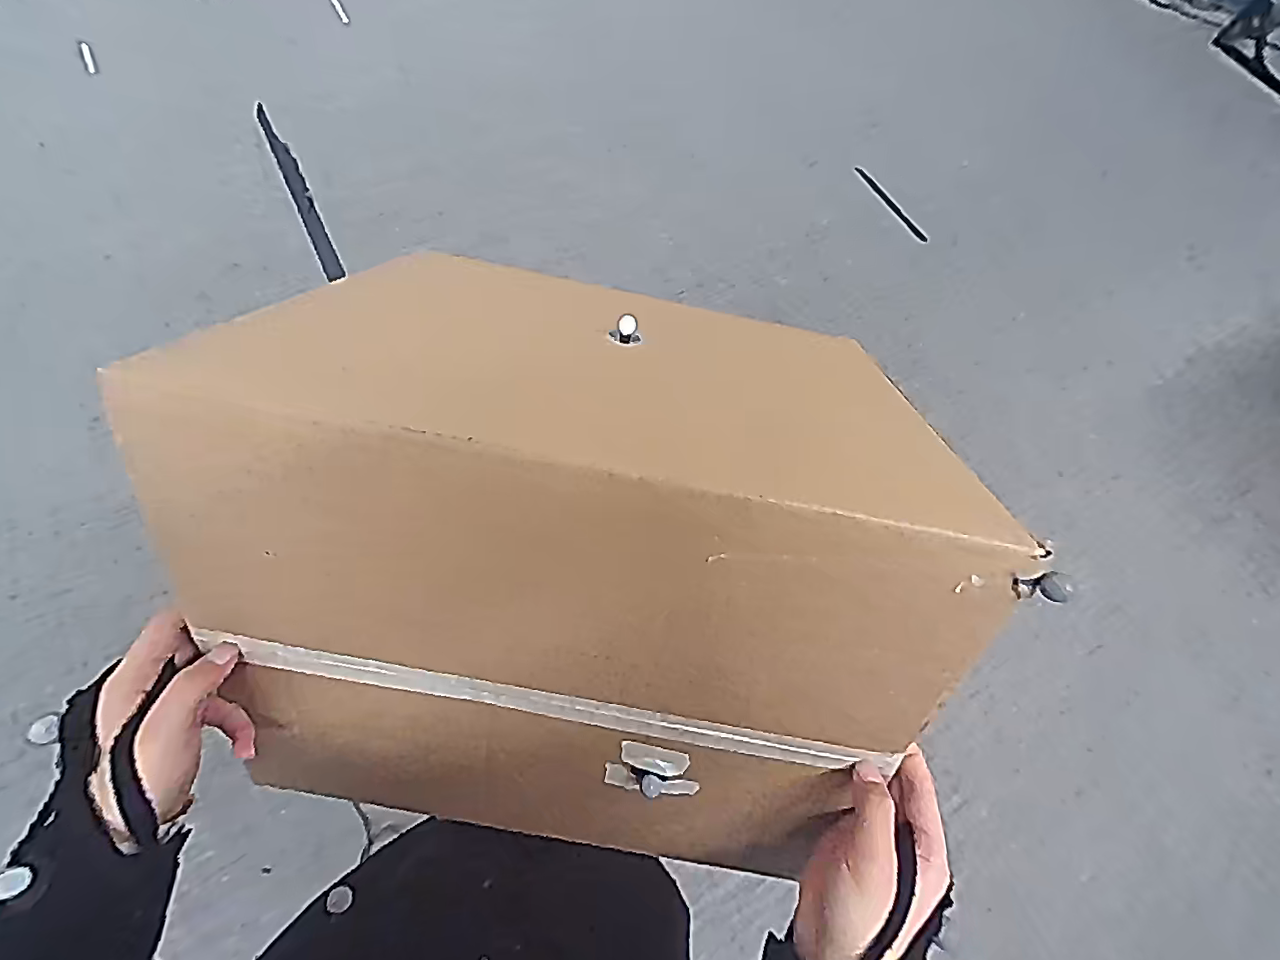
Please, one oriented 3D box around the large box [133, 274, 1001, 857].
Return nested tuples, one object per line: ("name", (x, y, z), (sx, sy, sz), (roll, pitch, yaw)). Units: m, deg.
("large box", (-0.044, 0.044, 0.445), (0.408, 0.320, 0.320), (10, 33, -2))
